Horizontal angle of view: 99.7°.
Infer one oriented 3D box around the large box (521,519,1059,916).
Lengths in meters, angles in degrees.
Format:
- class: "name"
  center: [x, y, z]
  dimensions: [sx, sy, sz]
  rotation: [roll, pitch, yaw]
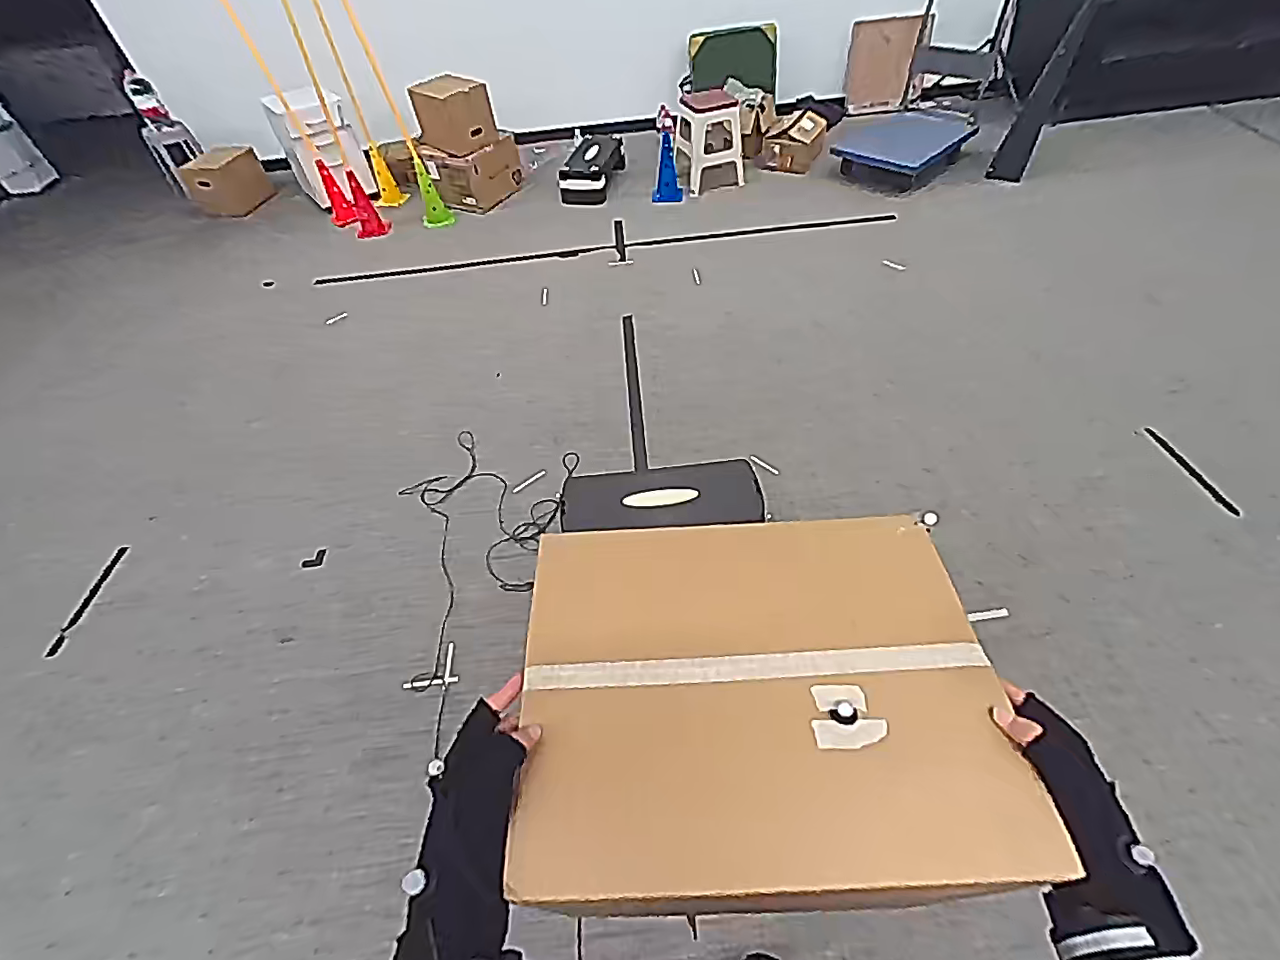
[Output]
- class: "large box"
  center: [0.109, 0.268, 0.601]
  dimensions: [0.408, 0.320, 0.320]
  rotation: [-3, 49, 1]
